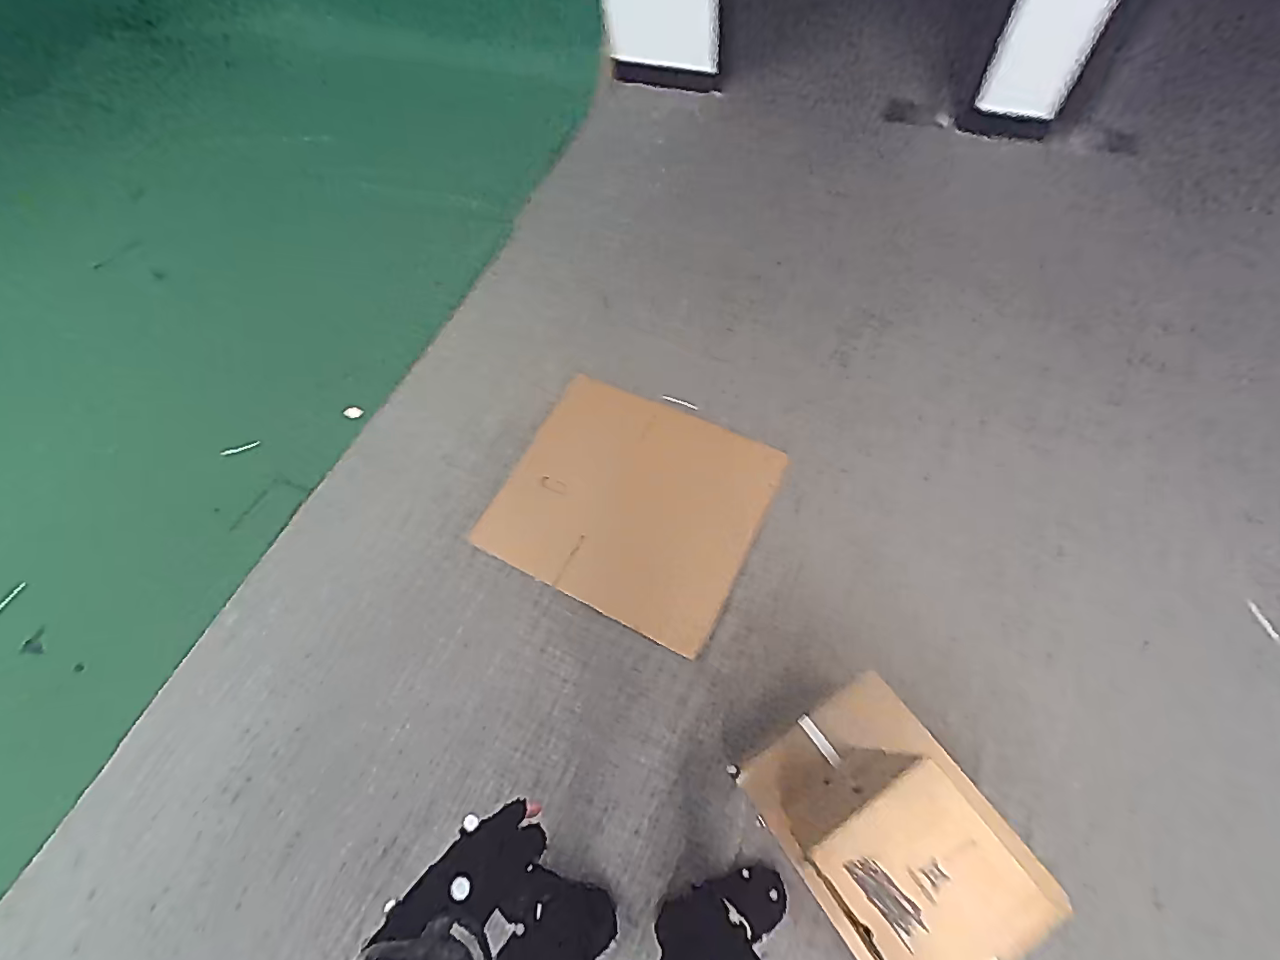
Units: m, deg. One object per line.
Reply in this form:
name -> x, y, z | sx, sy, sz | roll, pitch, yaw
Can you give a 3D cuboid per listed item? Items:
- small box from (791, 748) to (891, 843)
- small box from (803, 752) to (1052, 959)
small box -> 0.342, 0.519, 0.781 | 0.168, 0.176, 0.179 | -38, 66, -12
small box -> 0.310, 0.447, 0.633 | 0.179, 0.176, 0.168 | -33, 64, -9
